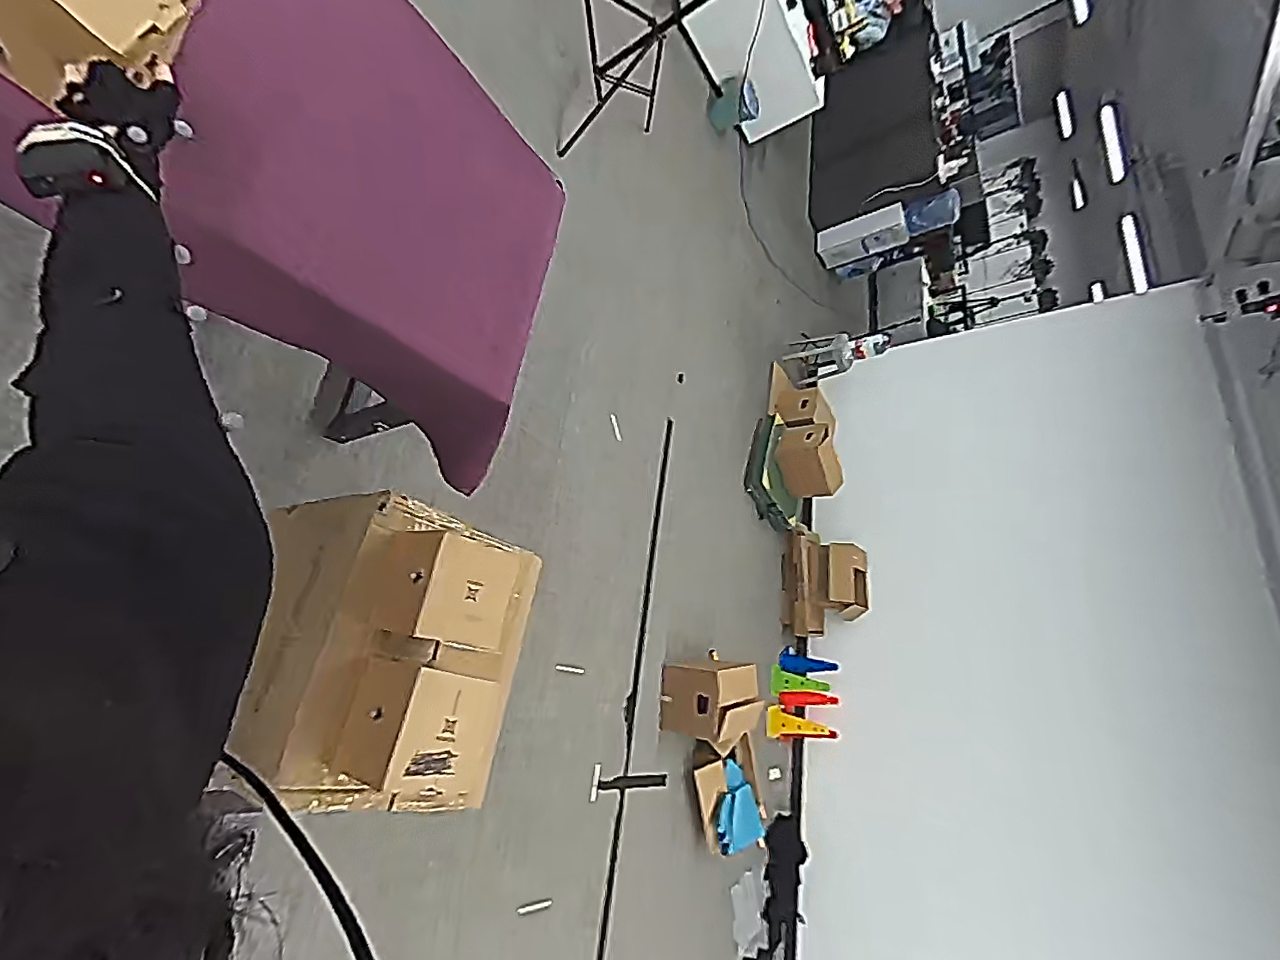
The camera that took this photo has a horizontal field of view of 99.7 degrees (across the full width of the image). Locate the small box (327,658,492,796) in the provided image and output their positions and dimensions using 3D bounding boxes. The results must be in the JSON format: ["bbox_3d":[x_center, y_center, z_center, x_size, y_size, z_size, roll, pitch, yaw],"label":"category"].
[{"bbox_3d":[-0.381,0.403,0.893,0.168,0.176,0.179,37,54,-44],"label":"small box"}]

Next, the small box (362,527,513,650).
[{"bbox_3d":[-0.359,0.192,0.959,0.168,0.176,0.179,32,61,-45],"label":"small box"}]

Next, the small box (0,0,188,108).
[{"bbox_3d":[-0.609,-0.525,0.550,0.179,0.176,0.168,41,53,-44],"label":"small box"}]
